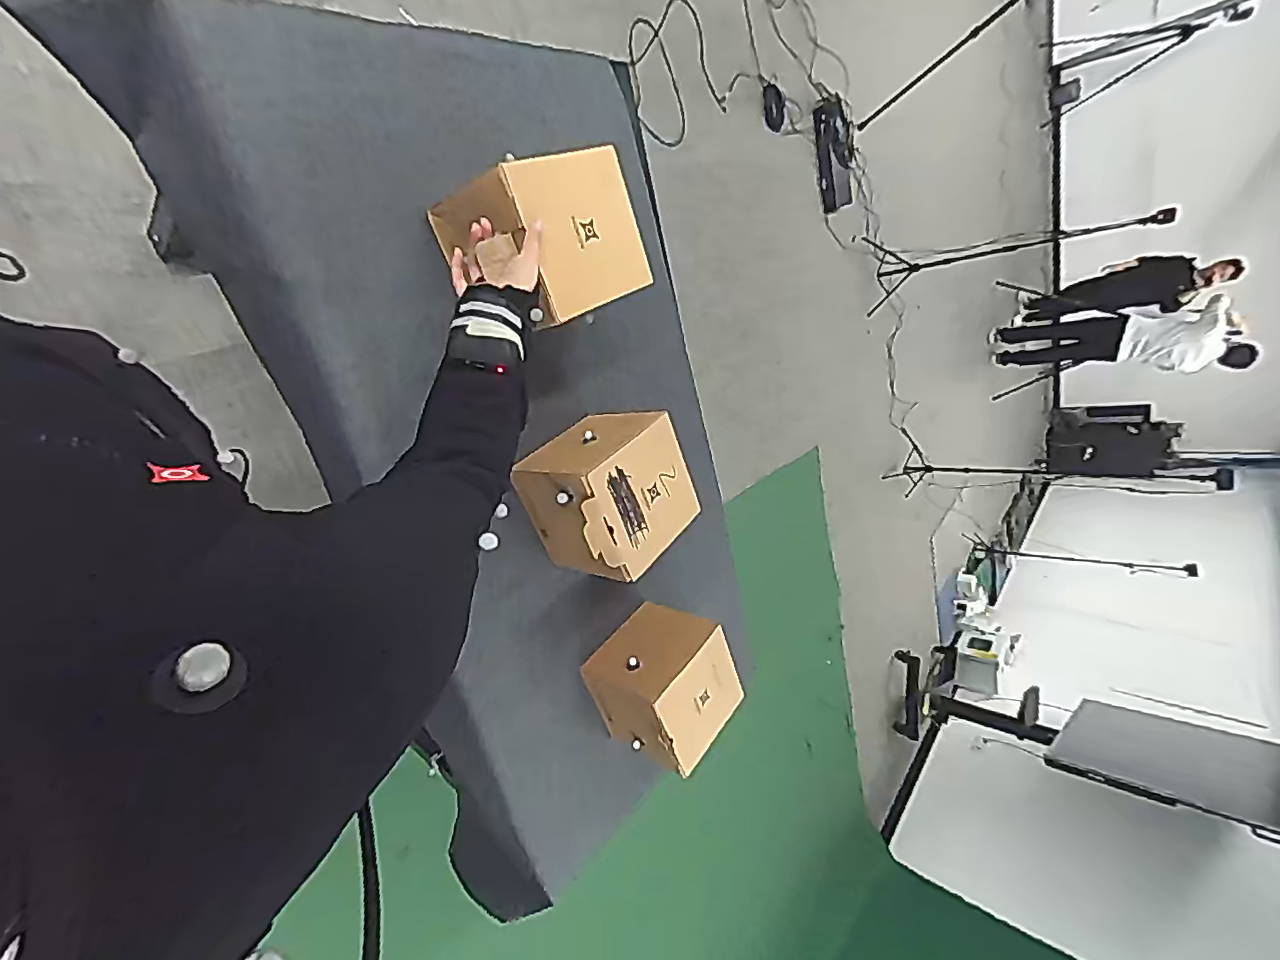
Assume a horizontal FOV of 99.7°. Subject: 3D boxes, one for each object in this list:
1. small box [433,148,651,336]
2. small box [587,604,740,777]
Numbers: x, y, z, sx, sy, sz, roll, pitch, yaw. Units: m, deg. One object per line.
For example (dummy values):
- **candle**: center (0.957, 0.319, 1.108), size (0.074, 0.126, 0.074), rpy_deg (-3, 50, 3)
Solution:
- **small box**: center (-0.119, -0.291, 0.675), size (0.179, 0.176, 0.168), rpy_deg (-38, 120, -38)
- **small box**: center (0.034, 0.332, 0.887), size (0.179, 0.176, 0.168), rpy_deg (-39, 121, -38)
